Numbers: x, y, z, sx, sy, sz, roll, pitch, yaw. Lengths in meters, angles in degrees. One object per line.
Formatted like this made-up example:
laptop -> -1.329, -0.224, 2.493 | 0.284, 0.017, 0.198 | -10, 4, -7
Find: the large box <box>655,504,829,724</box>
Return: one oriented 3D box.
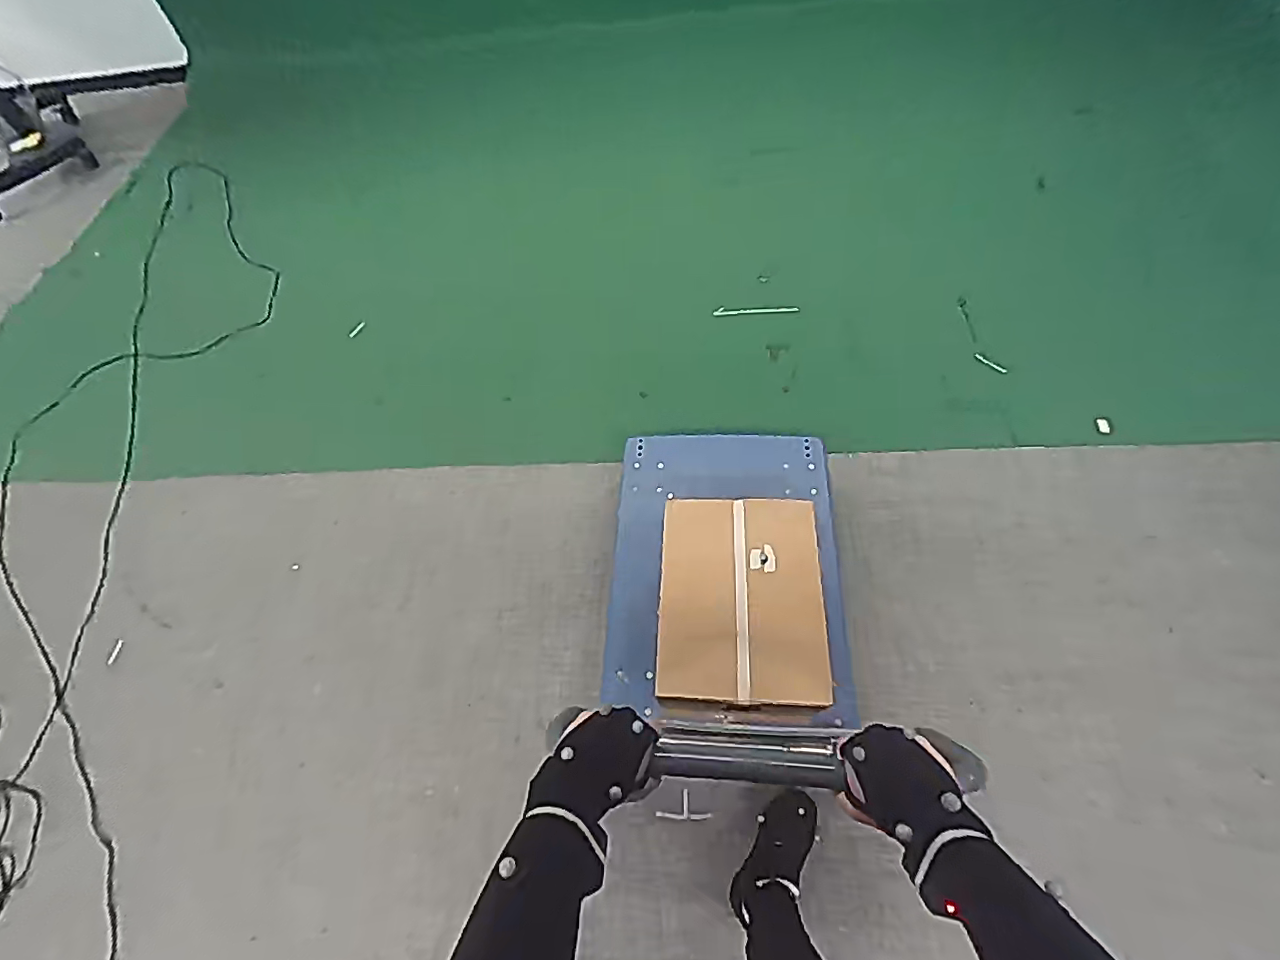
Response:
large box -> 0.205, 0.301, 1.190 | 0.320, 0.320, 0.408 | 0, 59, 6
